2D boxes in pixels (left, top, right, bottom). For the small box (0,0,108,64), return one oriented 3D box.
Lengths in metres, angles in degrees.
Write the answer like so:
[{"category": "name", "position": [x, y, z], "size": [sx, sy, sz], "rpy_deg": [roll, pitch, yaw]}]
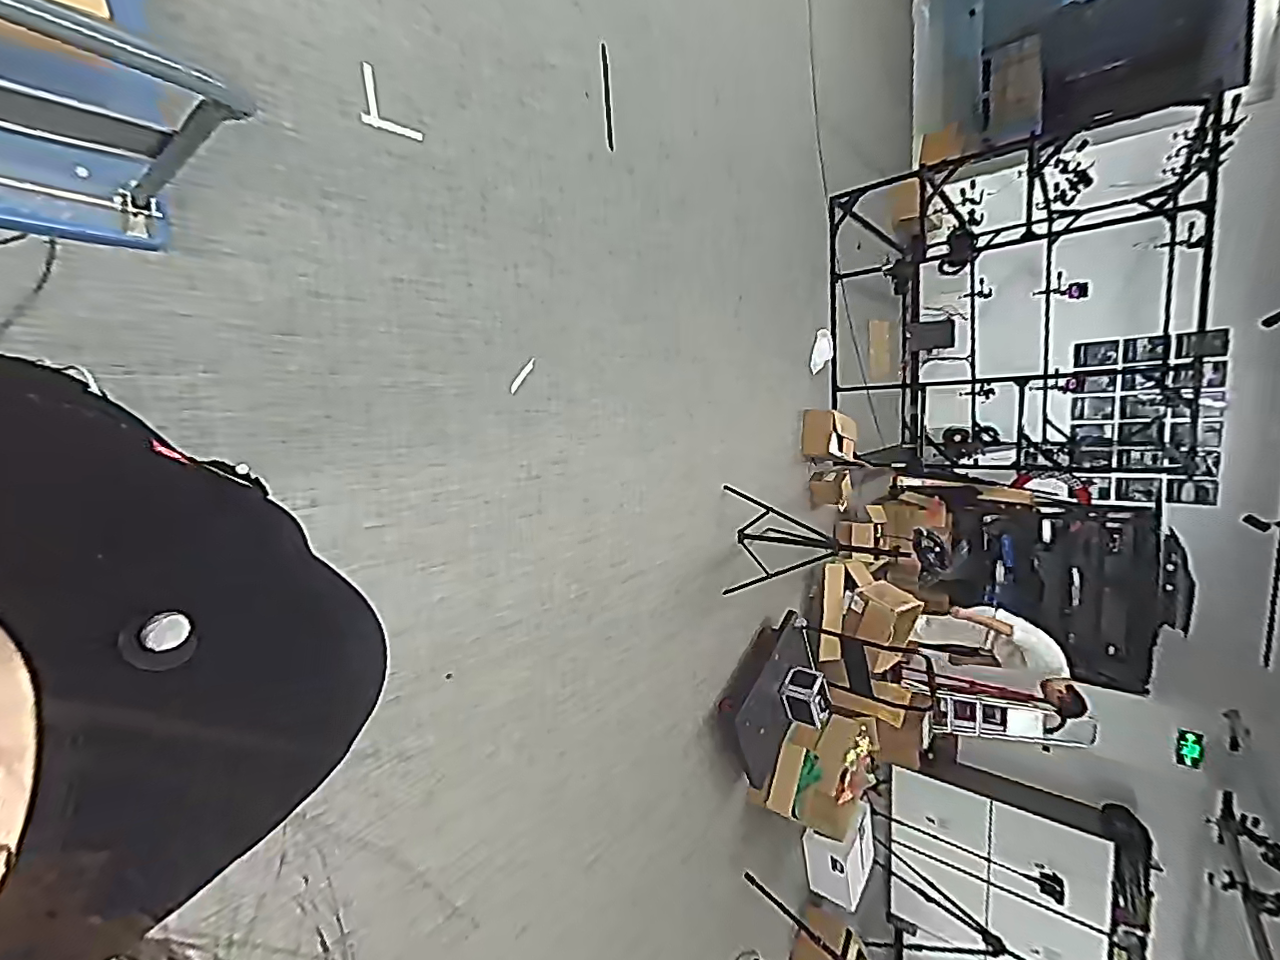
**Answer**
[{"category": "small box", "position": [-0.959, -0.785, 0.825], "size": [0.179, 0.176, 0.168], "rpy_deg": [-17, 105, -49]}]
